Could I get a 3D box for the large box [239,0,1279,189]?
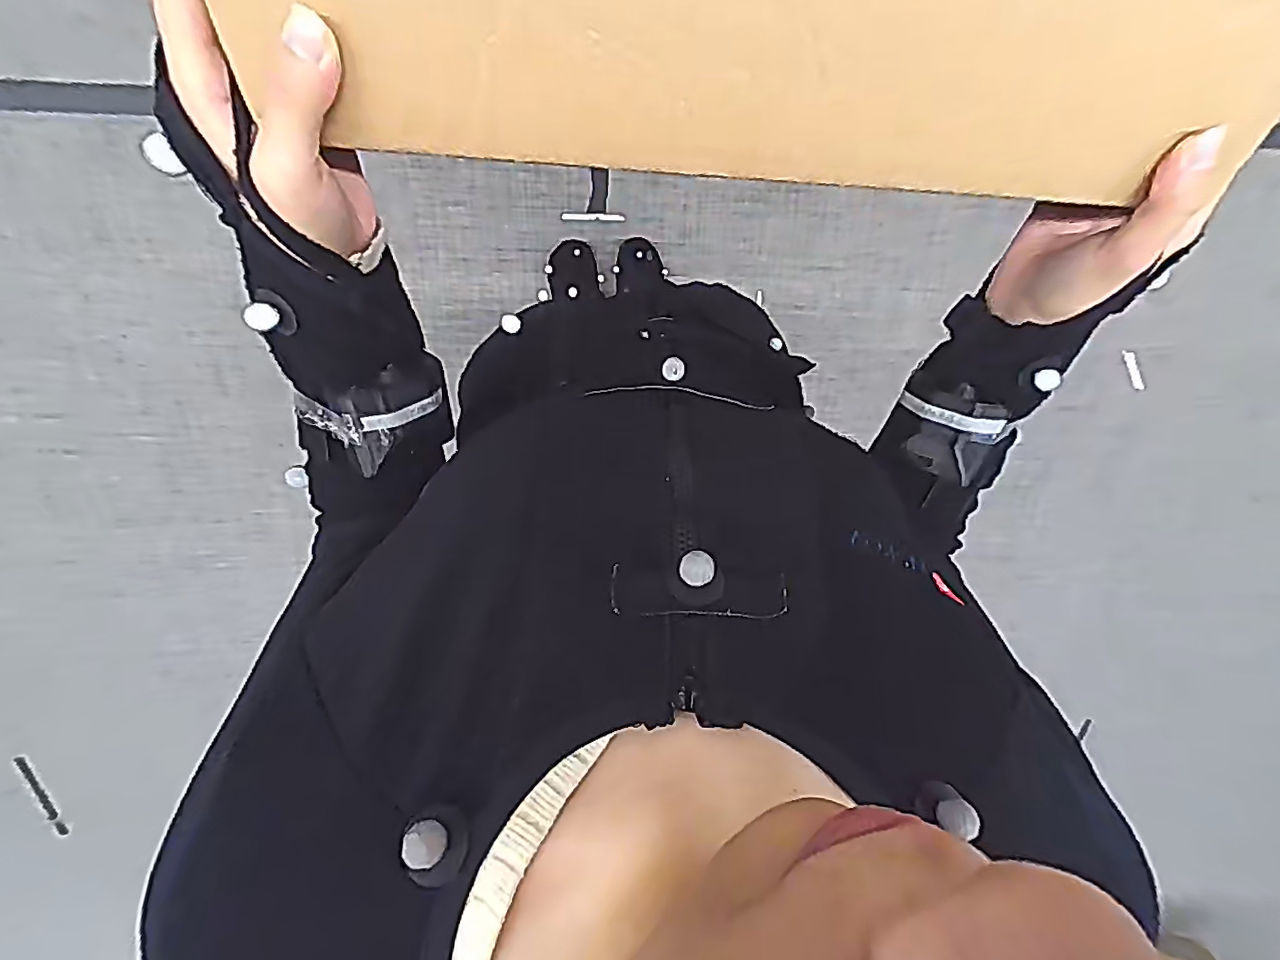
[{"bbox_3d":[0.056,-0.346,0.225,0.408,0.320,0.320,0,138,-6],"label":"large box"}]
